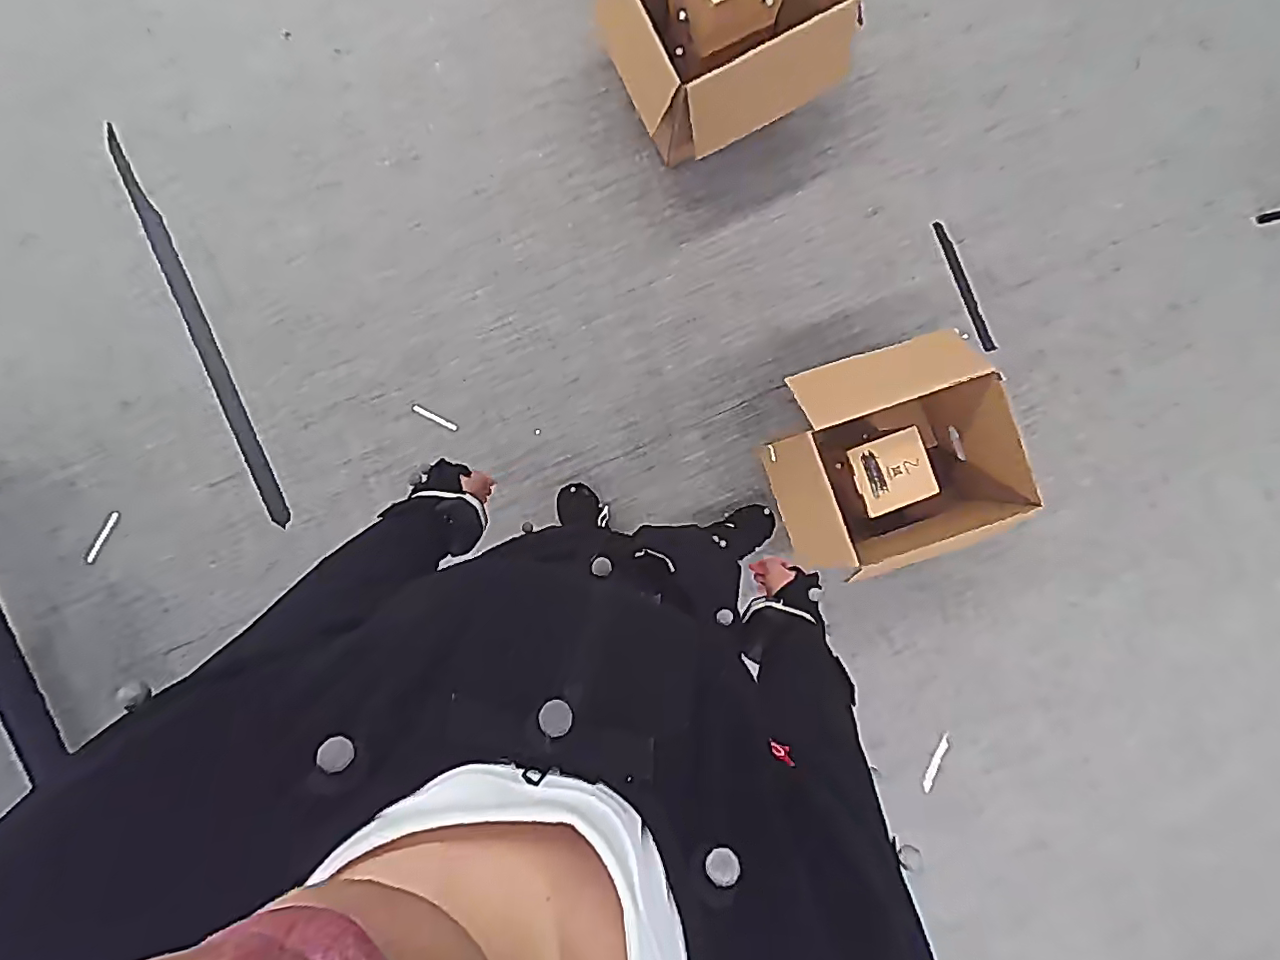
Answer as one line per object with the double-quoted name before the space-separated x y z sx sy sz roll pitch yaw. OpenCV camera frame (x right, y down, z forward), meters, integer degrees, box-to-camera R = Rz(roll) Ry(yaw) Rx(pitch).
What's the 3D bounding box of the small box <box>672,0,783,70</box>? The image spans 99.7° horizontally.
"small box" 0.180 -1.004 1.110 0.179 0.176 0.168 -26 92 -1
